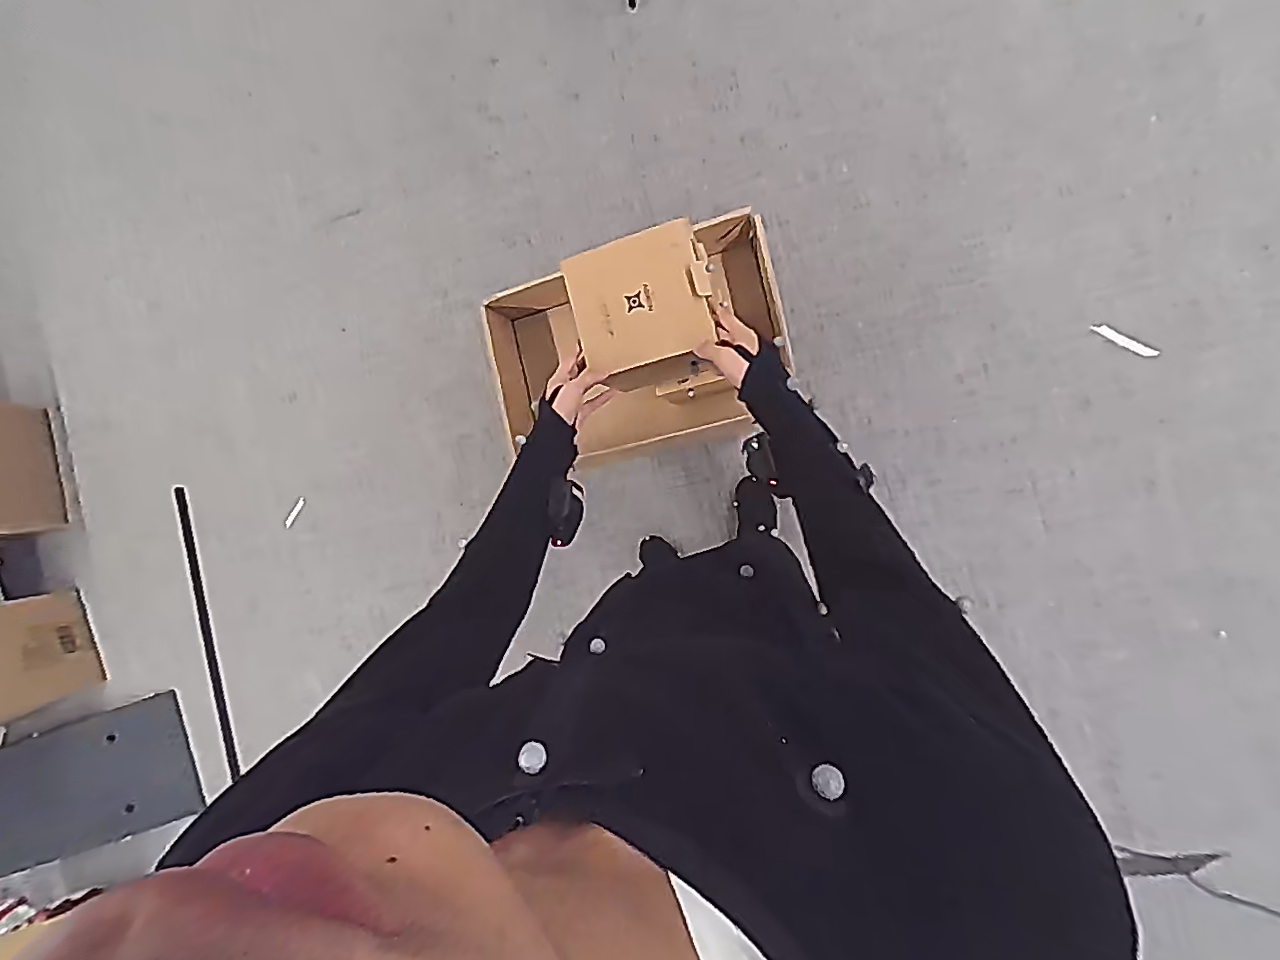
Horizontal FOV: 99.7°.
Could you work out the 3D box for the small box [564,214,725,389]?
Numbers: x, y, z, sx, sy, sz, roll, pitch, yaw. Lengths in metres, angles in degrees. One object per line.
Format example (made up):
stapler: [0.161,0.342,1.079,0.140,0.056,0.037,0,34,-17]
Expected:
small box: [0.018,-0.233,0.754,0.179,0.176,0.168,-14,90,14]
